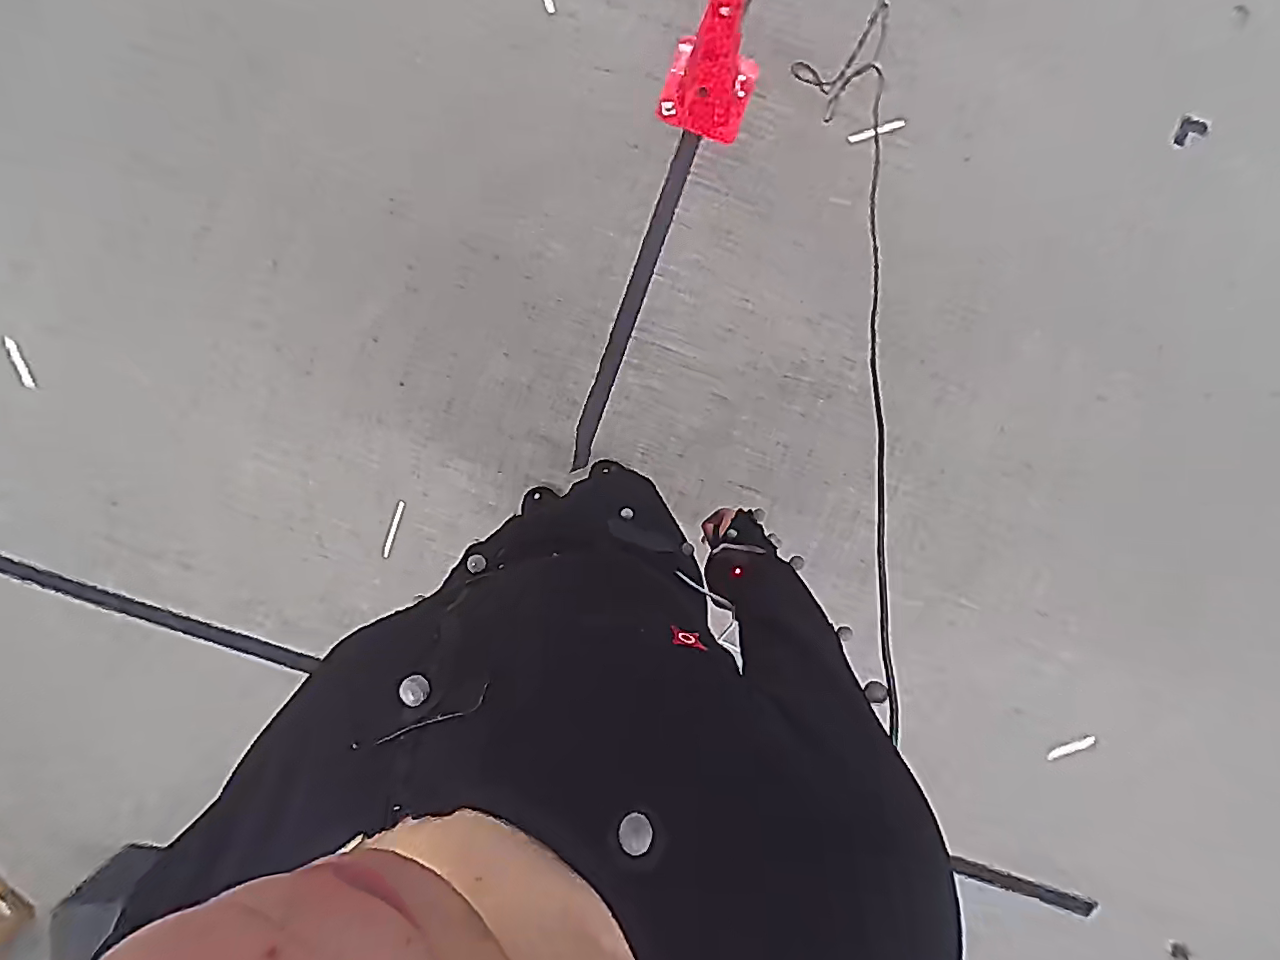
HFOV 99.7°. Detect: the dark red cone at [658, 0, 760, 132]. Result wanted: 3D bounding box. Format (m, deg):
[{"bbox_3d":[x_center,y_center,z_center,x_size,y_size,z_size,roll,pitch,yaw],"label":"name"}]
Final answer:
[{"bbox_3d":[0.163,-0.917,1.089,0.201,0.394,0.202,19,95,-3],"label":"dark red cone"}]
